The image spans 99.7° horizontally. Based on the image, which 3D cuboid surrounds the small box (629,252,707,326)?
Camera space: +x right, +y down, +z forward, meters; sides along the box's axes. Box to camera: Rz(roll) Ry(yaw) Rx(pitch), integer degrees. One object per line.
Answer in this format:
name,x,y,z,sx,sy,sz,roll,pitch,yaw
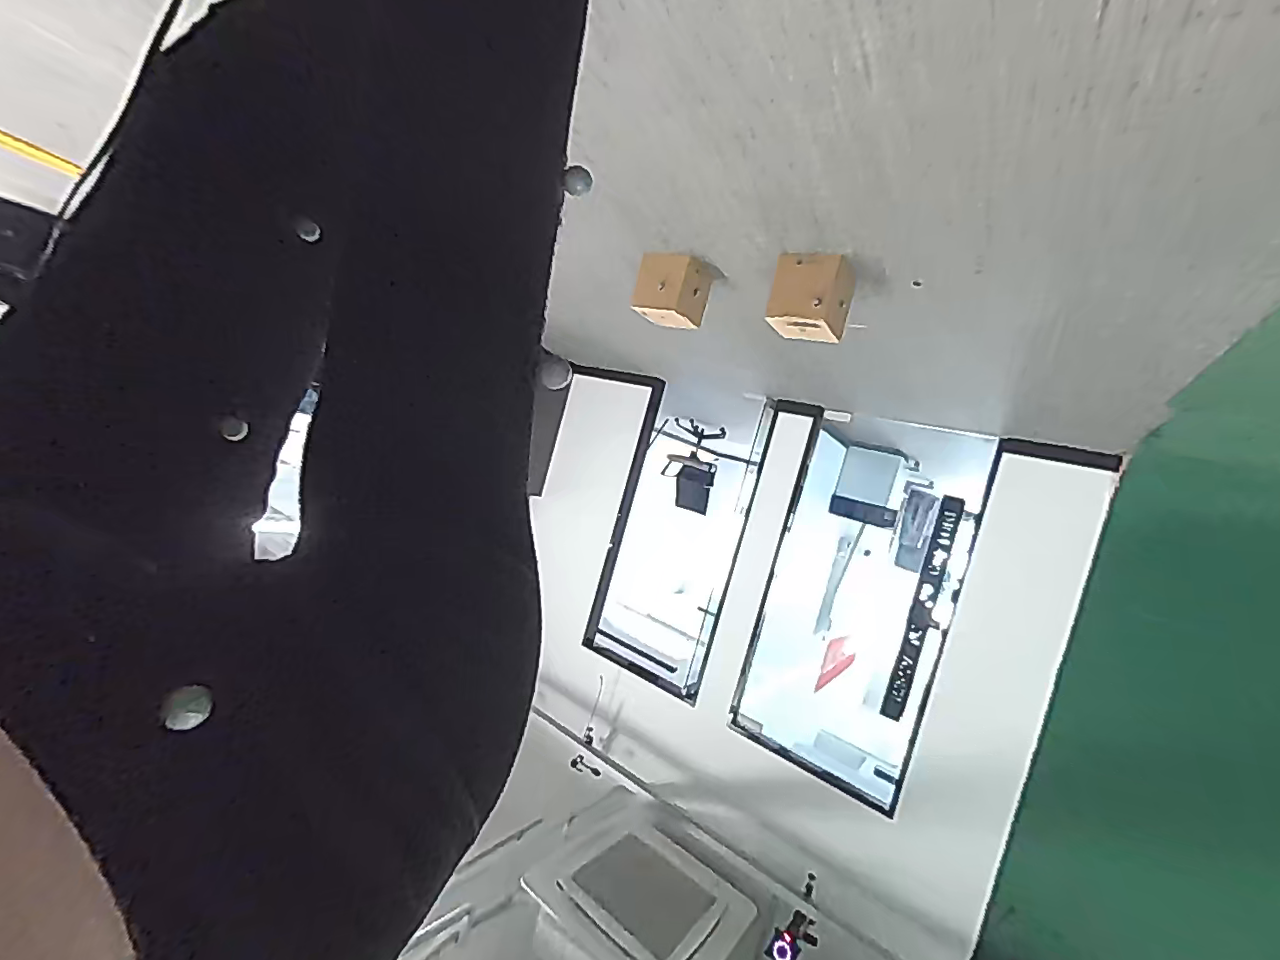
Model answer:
small box,0.094,-0.596,1.689,0.179,0.176,0.168,16,-178,33
